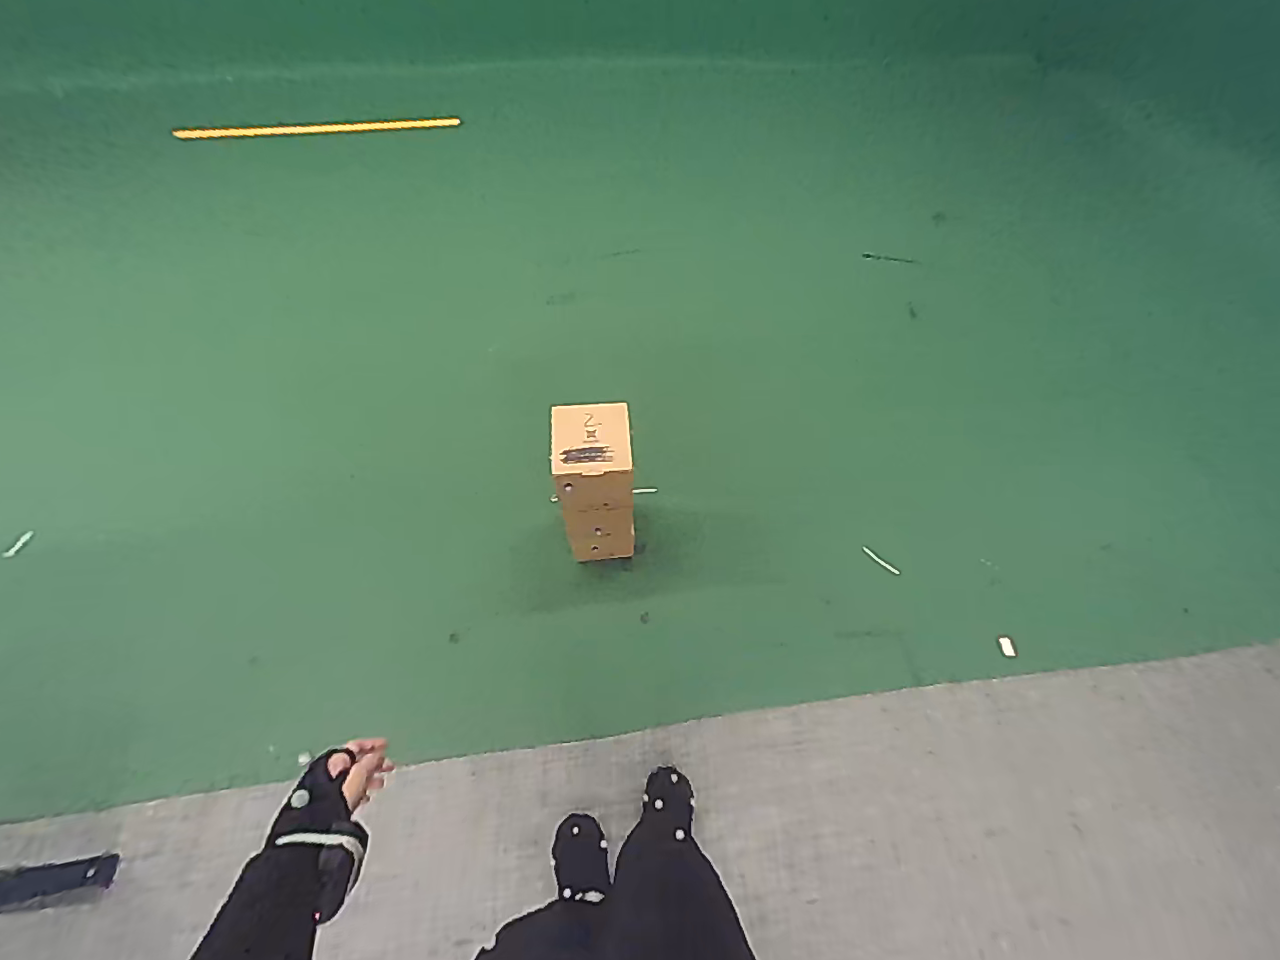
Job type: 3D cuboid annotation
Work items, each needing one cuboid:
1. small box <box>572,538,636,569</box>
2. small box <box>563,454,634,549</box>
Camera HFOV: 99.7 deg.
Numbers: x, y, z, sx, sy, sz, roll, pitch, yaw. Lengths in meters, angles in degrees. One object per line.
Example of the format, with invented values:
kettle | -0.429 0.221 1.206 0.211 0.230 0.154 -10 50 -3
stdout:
small box | -0.101 0.137 1.494 0.168 0.176 0.179 -6 60 -4
small box | -0.103 0.056 1.350 0.168 0.176 0.179 -4 61 -2
